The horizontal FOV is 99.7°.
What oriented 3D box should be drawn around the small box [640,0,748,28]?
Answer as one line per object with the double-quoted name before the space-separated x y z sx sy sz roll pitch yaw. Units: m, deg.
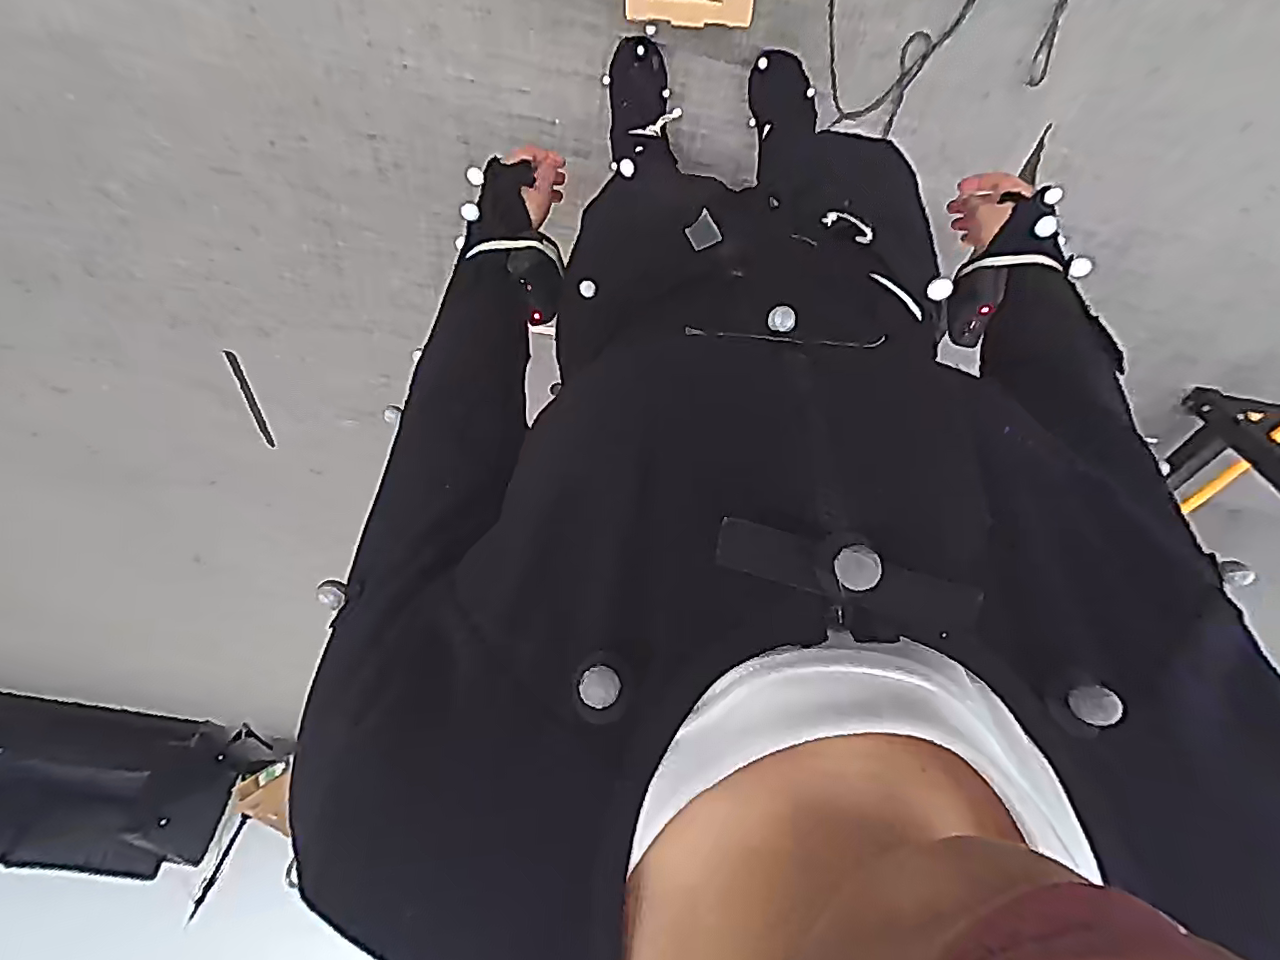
"small box" 0.100 -0.823 0.824 0.168 0.176 0.179 9 134 -1
